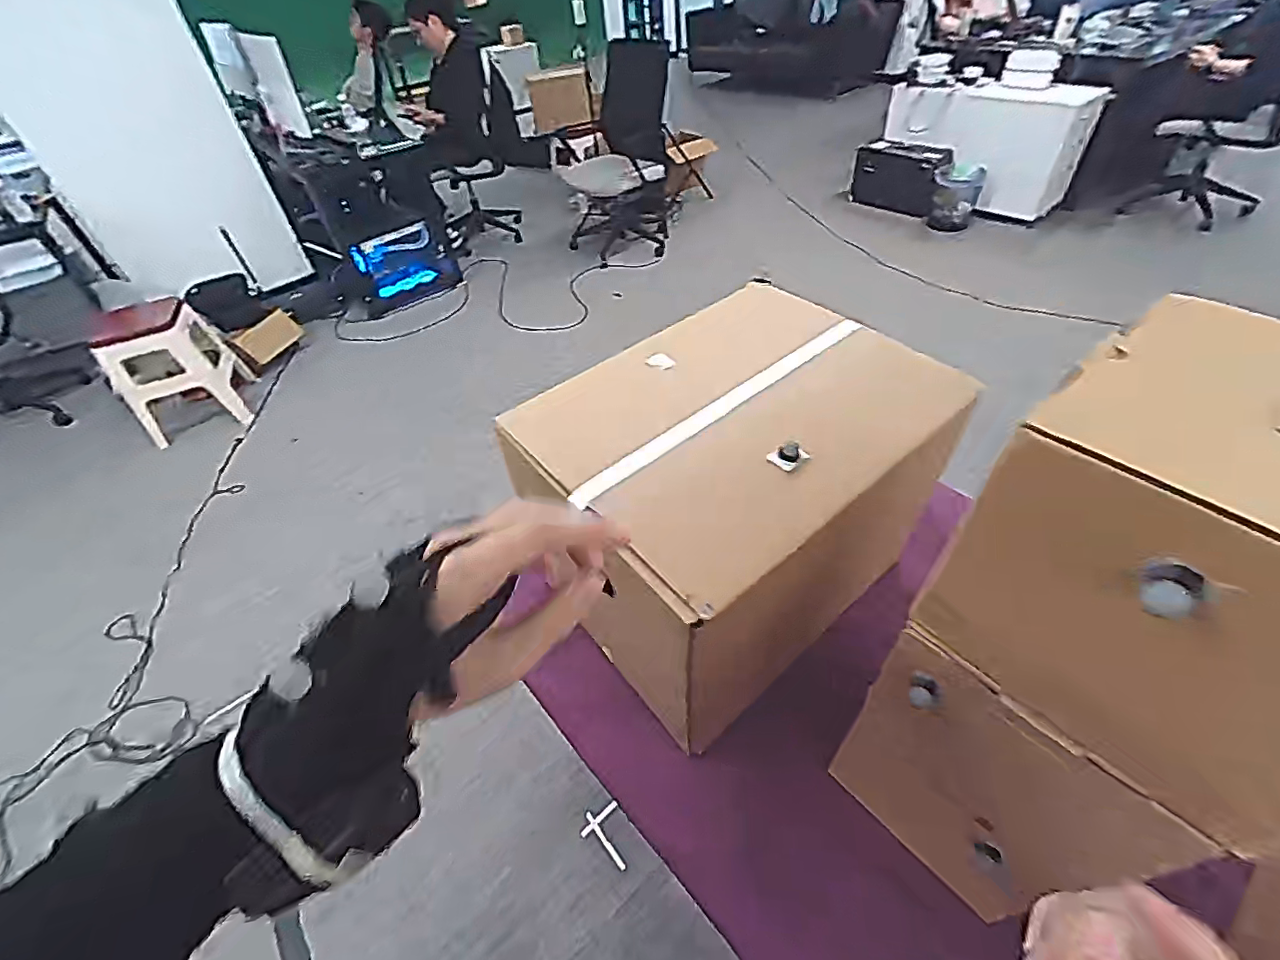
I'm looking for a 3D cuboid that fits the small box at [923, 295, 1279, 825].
[{"bbox_3d":[0.287,0.038,0.276,0.168,0.176,0.179,-32,50,-23],"label":"small box"}]
